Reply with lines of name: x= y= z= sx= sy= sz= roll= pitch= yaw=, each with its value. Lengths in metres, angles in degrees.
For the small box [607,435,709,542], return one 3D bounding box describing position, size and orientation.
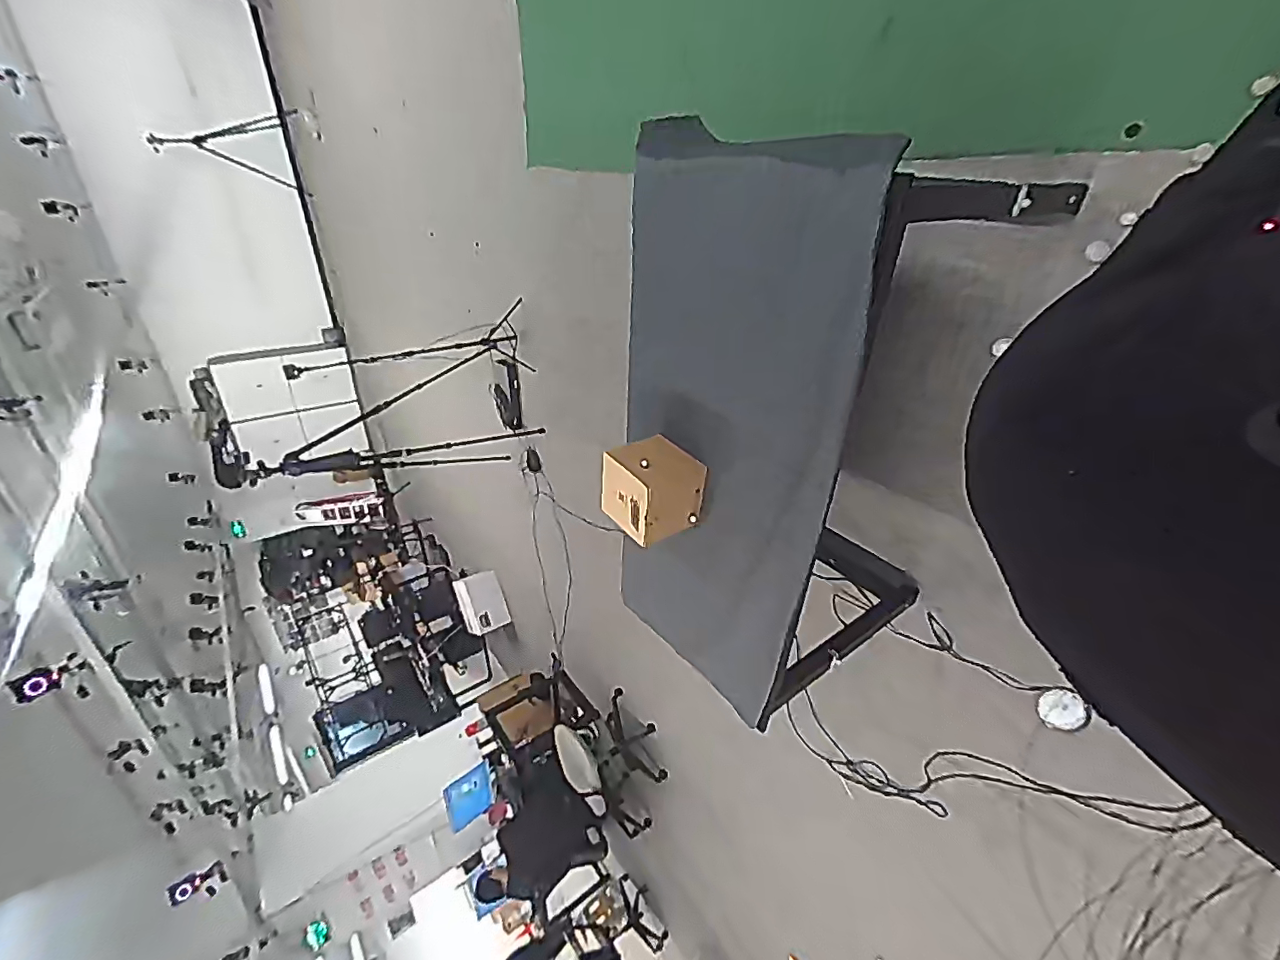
small box: x=0.040 y=0.011 z=1.269 sx=0.179 sy=0.176 sz=0.168 roll=38 pitch=136 yaw=40
